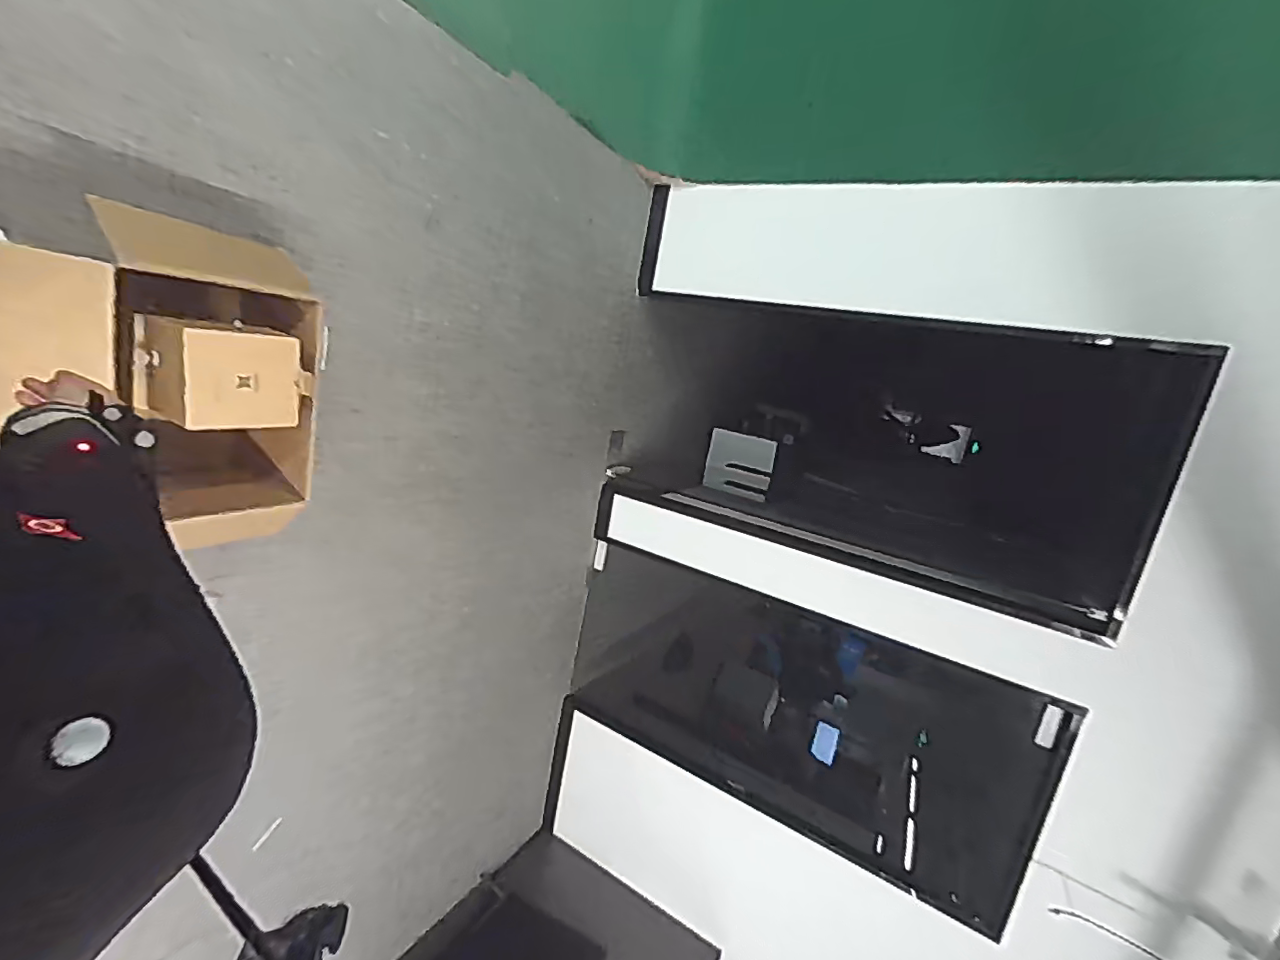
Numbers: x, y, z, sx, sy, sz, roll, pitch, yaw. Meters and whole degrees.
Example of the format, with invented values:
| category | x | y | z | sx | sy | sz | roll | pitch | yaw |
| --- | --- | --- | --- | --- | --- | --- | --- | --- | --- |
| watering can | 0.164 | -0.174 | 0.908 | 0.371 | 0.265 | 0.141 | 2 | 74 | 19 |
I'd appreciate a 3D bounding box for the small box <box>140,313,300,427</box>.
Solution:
| category | x | y | z | sx | sy | sz | roll | pitch | yaw |
| --- | --- | --- | --- | --- | --- | --- | --- | --- | --- |
| small box | -0.742 | -0.195 | 0.961 | 0.179 | 0.176 | 0.168 | -13 | 117 | -58 |
